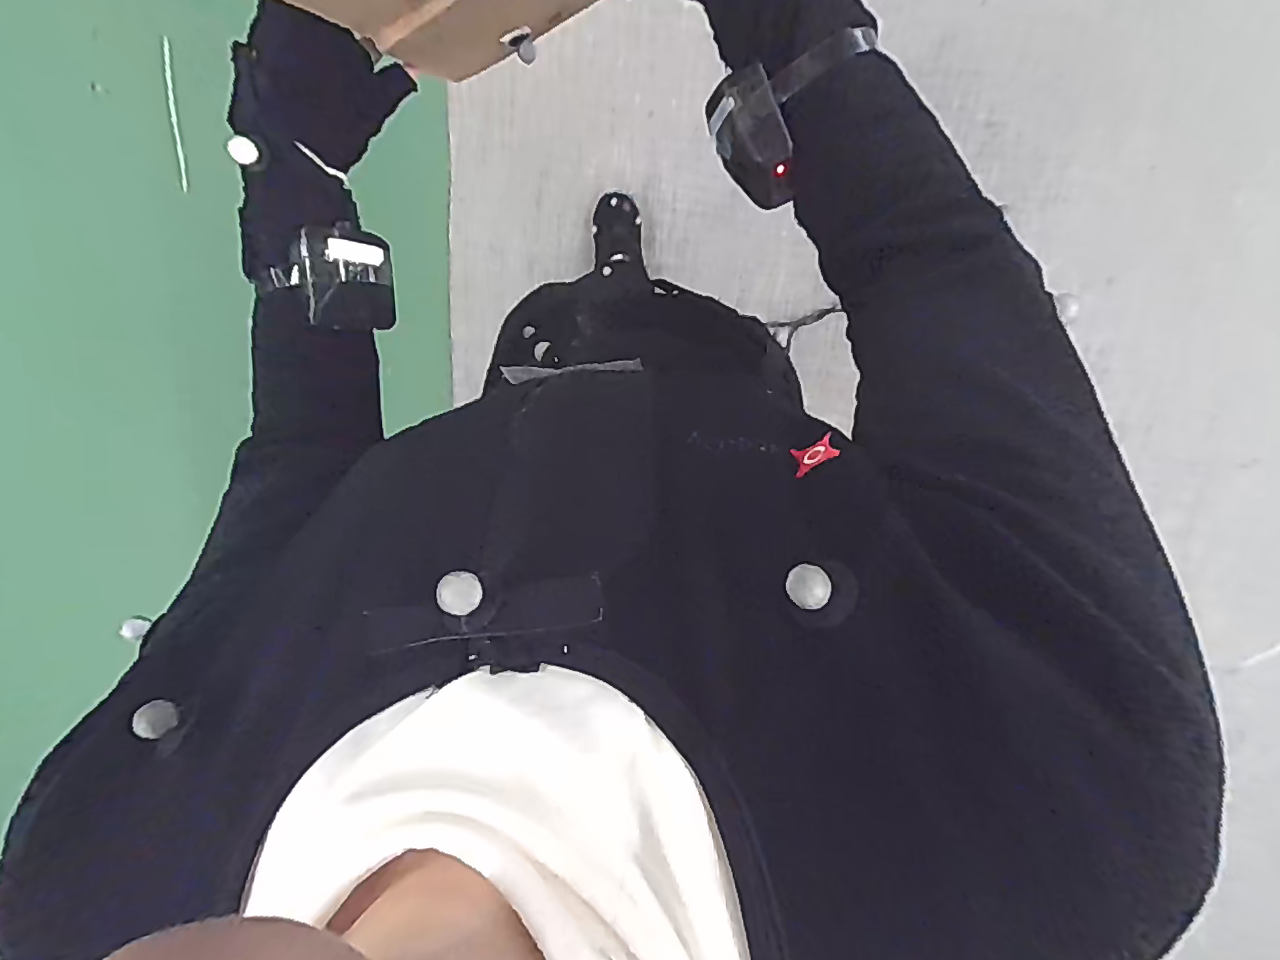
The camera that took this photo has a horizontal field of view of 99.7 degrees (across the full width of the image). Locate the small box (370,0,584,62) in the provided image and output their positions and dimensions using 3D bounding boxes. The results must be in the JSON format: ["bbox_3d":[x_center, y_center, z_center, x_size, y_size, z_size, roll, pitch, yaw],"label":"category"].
[{"bbox_3d":[-0.121,-0.427,0.361,0.168,0.176,0.179,-20,117,15],"label":"small box"}]
